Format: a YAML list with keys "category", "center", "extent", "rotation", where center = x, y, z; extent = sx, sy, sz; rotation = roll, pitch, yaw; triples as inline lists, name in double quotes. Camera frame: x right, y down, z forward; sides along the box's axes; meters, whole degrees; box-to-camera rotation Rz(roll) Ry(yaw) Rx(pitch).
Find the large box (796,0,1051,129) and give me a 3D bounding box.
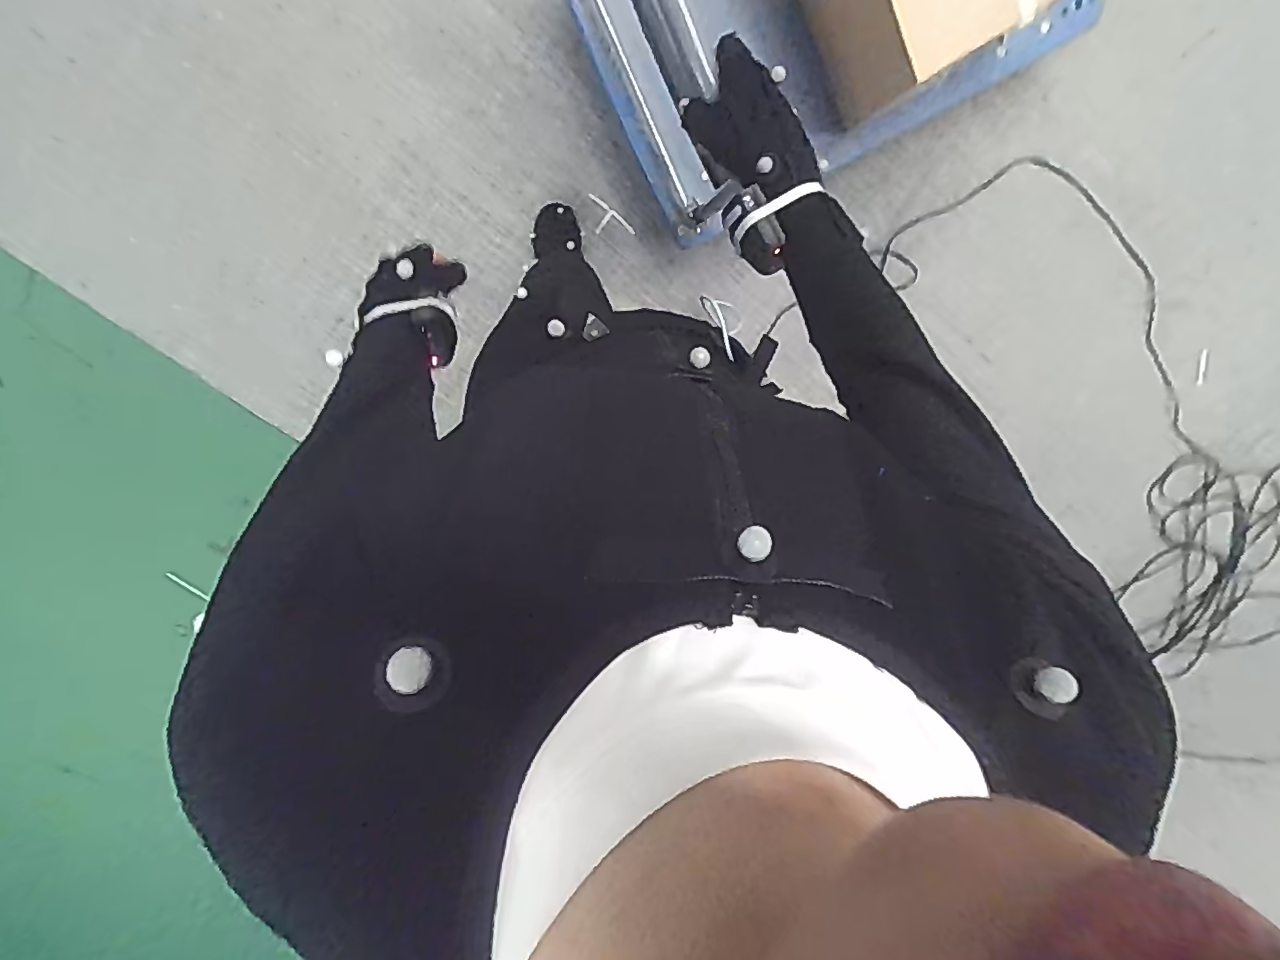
- category: "large box"
  center: [0.436, -0.867, 0.846]
  extent: [0.320, 0.320, 0.408]
  rotation: [-27, 108, 10]
